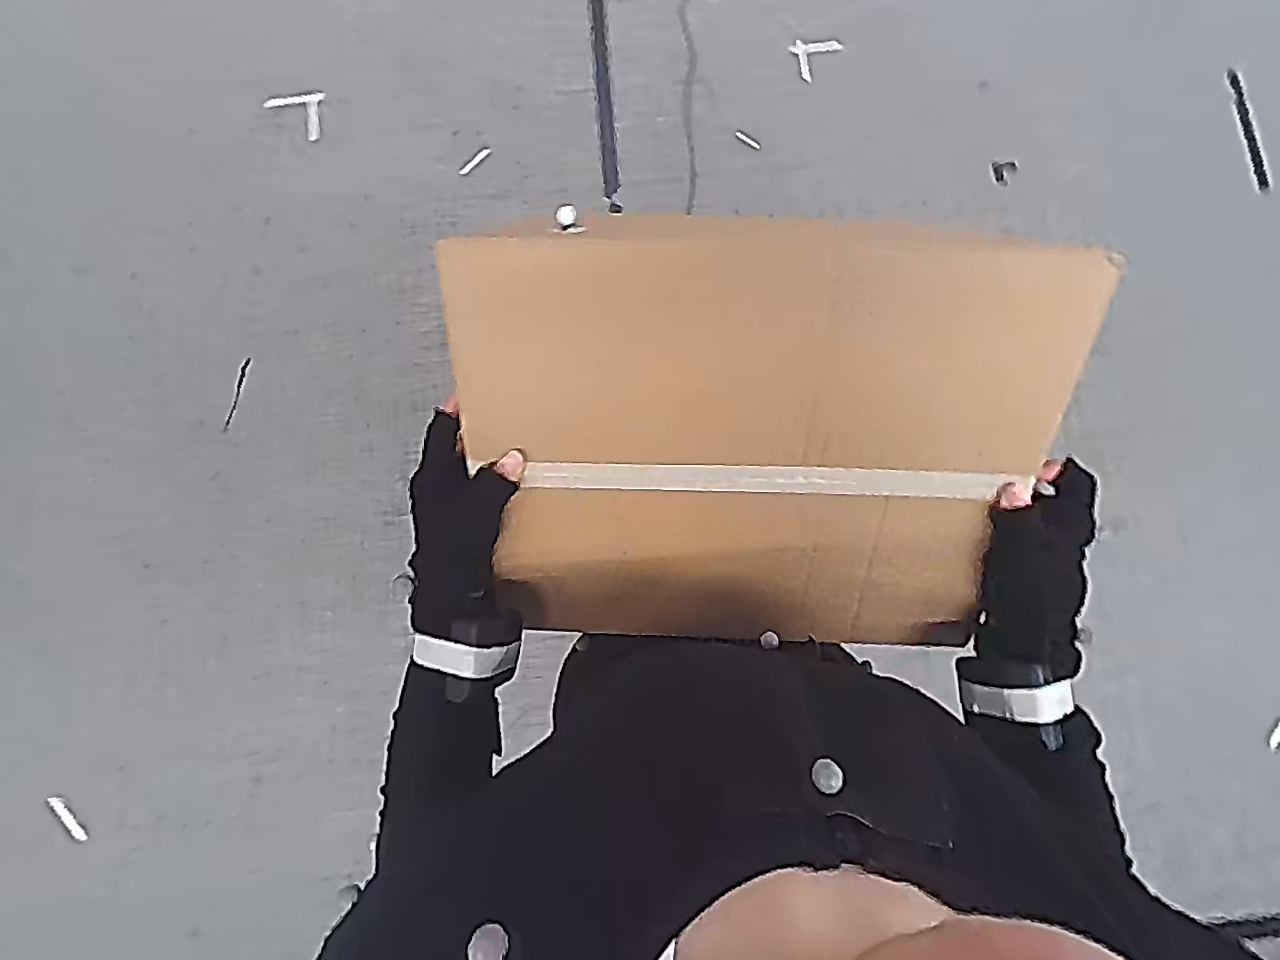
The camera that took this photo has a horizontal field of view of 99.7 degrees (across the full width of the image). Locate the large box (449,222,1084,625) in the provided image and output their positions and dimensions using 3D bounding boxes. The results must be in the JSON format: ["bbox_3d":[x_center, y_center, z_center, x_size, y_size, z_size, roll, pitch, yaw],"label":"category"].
[{"bbox_3d":[0.079,-0.081,0.537,0.408,0.320,0.320,2,119,2],"label":"large box"}]
